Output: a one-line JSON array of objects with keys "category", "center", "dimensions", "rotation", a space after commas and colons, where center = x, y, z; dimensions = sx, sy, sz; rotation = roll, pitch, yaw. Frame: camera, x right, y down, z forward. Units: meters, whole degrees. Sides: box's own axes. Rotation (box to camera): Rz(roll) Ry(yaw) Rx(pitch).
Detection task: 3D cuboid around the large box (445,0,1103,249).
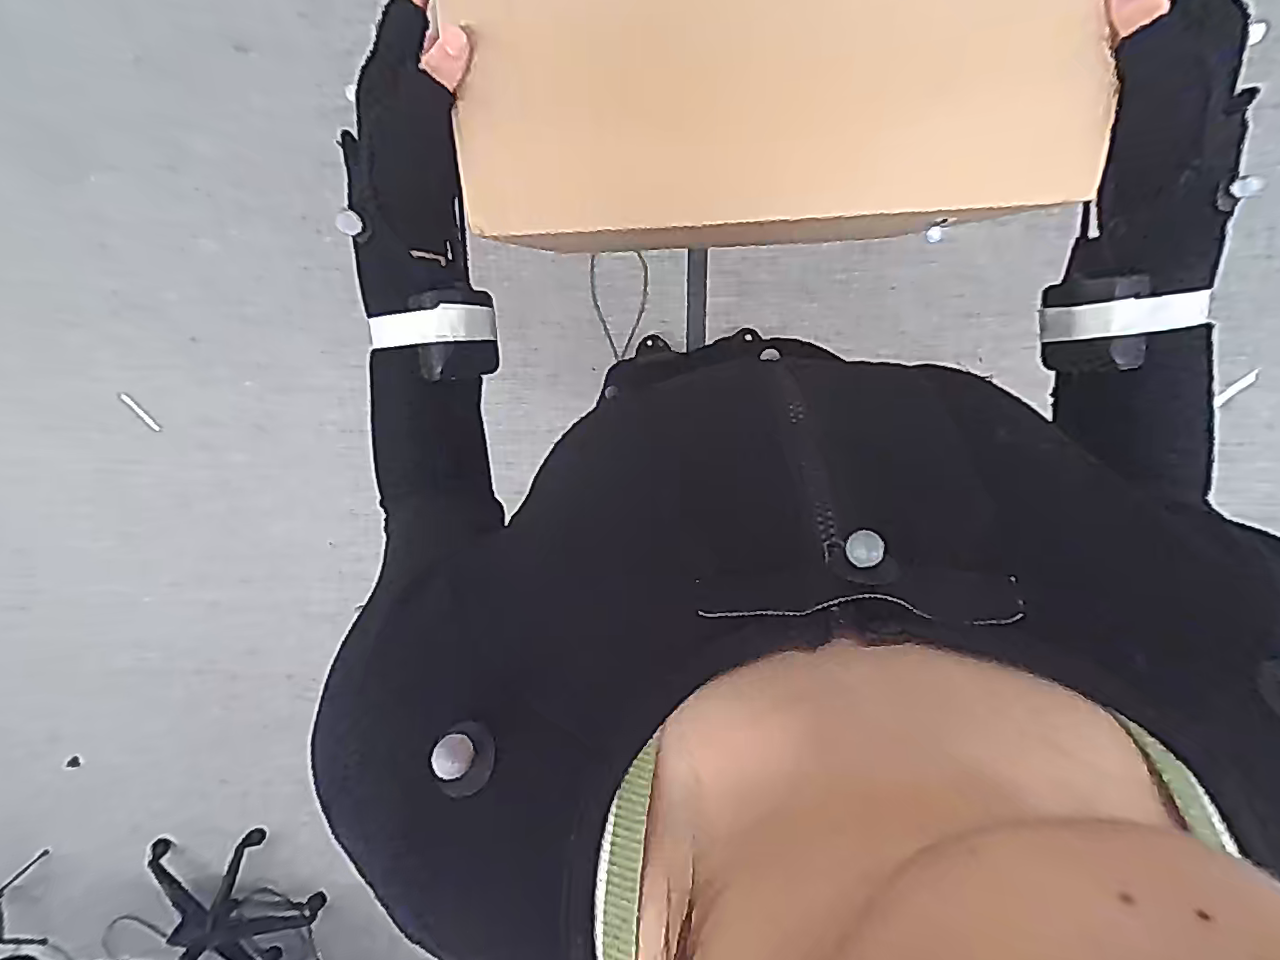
[{"category": "large box", "center": [0.084, -0.375, 0.453], "dimensions": [0.408, 0.320, 0.320], "rotation": [-2, 110, 3]}]
